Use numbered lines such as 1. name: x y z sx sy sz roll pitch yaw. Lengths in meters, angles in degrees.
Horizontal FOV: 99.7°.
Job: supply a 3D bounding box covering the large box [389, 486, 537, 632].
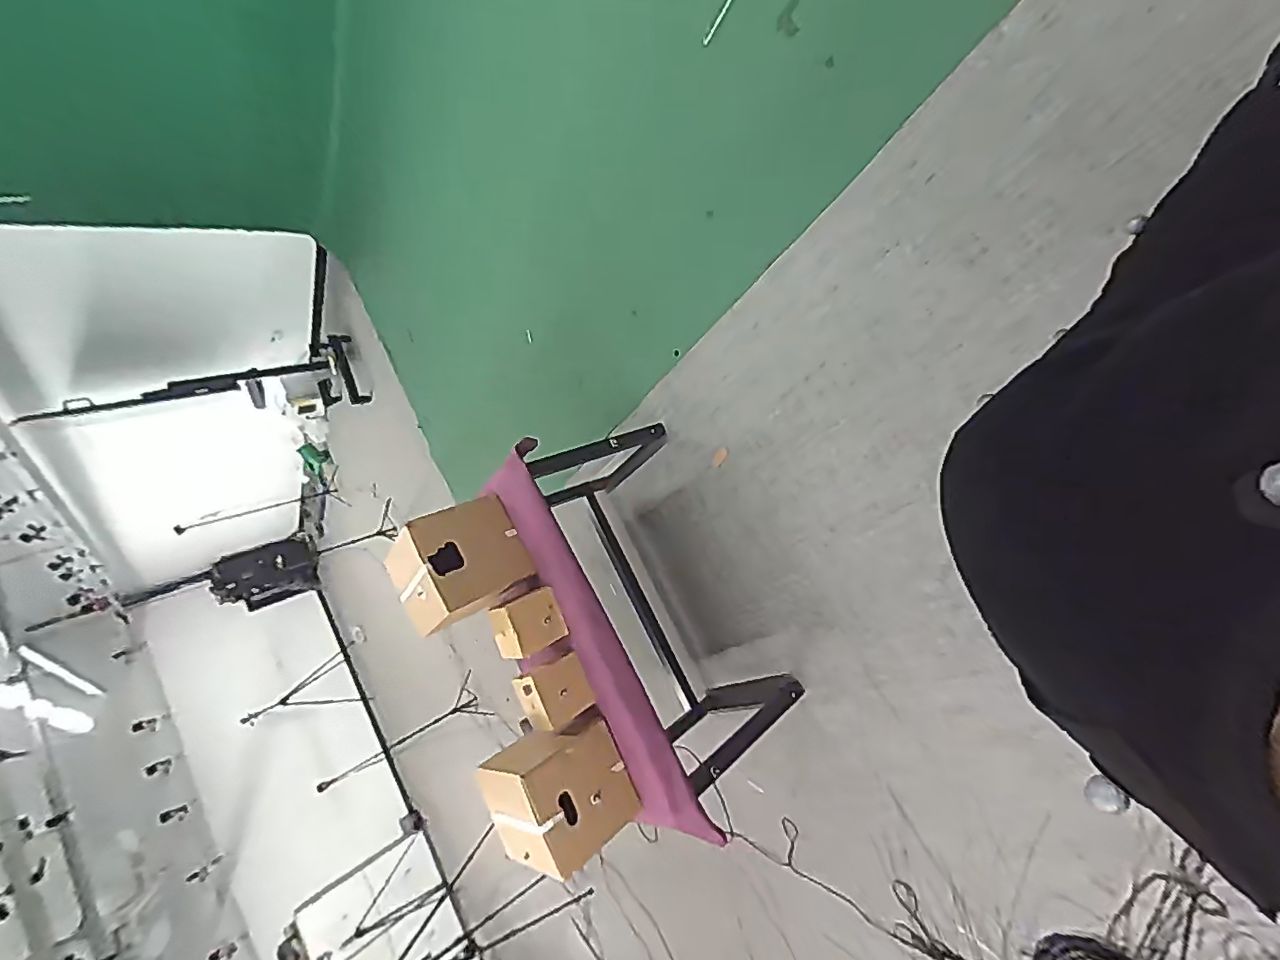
1. large box: -0.607 0.271 1.836 0.408 0.320 0.320 -39 78 48
